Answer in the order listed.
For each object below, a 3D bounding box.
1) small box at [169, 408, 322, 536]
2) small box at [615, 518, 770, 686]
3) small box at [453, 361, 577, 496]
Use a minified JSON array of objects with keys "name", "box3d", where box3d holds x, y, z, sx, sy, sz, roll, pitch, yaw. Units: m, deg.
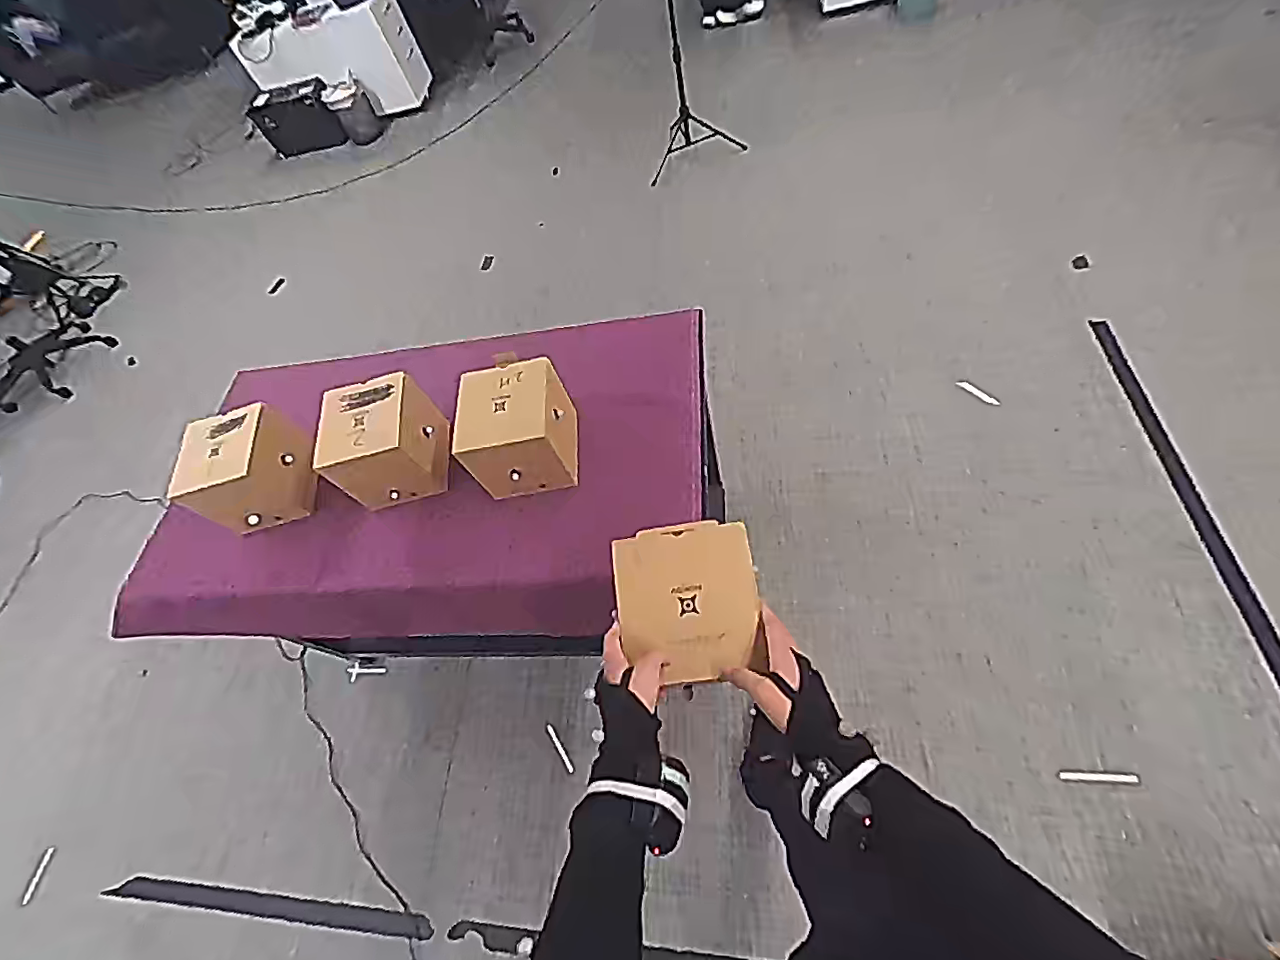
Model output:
[{"name":"small box","box3d":[-0.776,-0.012,1.087,0.168,0.176,0.179,-16,58,5]},{"name":"small box","box3d":[0.064,0.166,0.703,0.168,0.176,0.179,-8,67,4]},{"name":"small box","box3d":[-0.216,-0.084,0.986,0.168,0.176,0.179,-9,58,9]}]
